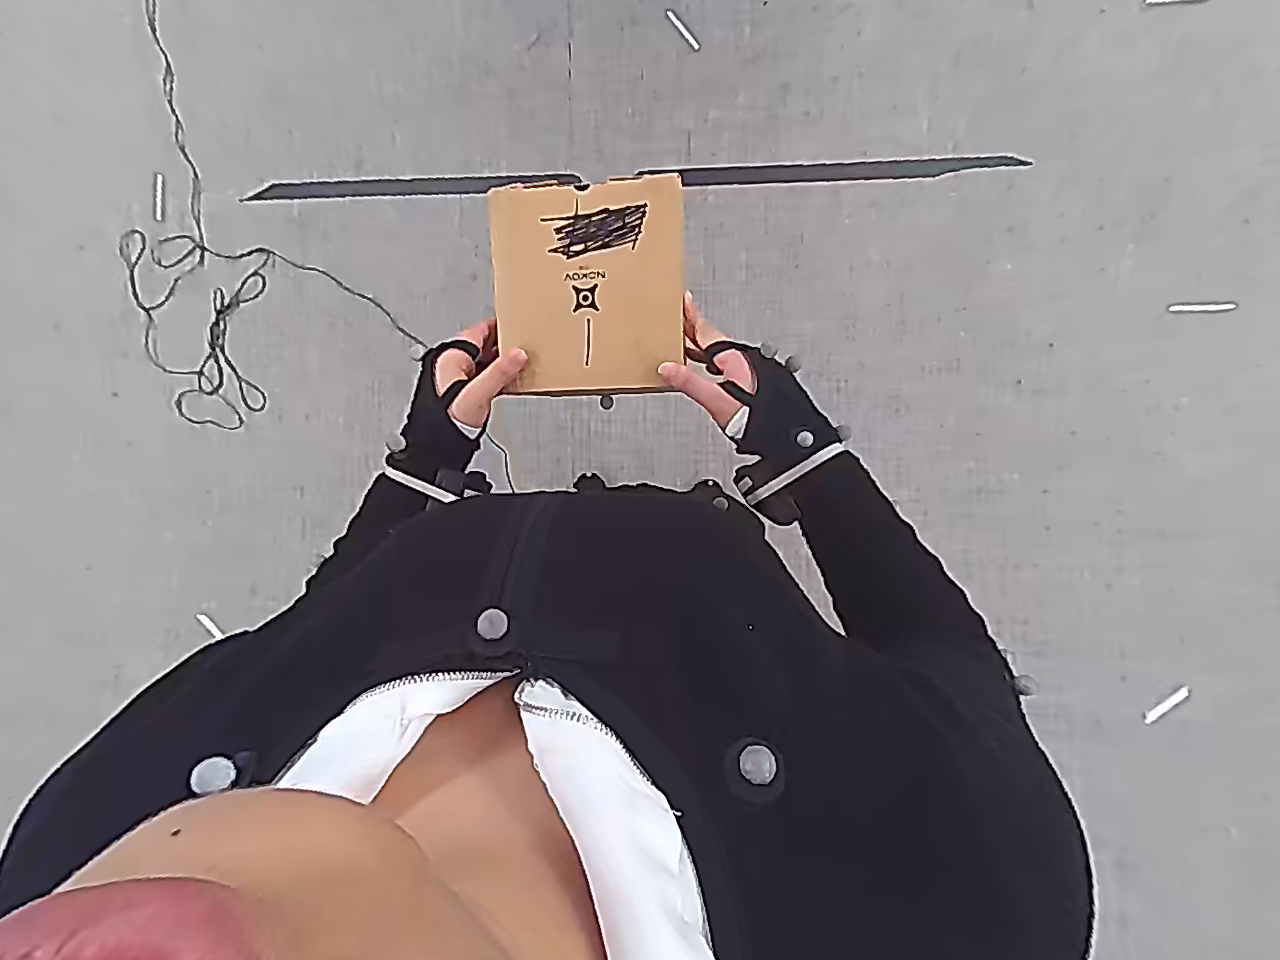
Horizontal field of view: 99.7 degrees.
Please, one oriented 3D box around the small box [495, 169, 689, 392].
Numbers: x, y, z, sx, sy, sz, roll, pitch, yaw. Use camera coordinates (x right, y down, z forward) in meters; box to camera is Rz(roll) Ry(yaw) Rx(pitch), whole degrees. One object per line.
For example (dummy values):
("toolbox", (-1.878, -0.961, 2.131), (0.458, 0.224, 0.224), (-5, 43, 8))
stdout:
("small box", (-0.036, -0.183, 0.547), (0.168, 0.176, 0.179), (-1, 97, 7))
